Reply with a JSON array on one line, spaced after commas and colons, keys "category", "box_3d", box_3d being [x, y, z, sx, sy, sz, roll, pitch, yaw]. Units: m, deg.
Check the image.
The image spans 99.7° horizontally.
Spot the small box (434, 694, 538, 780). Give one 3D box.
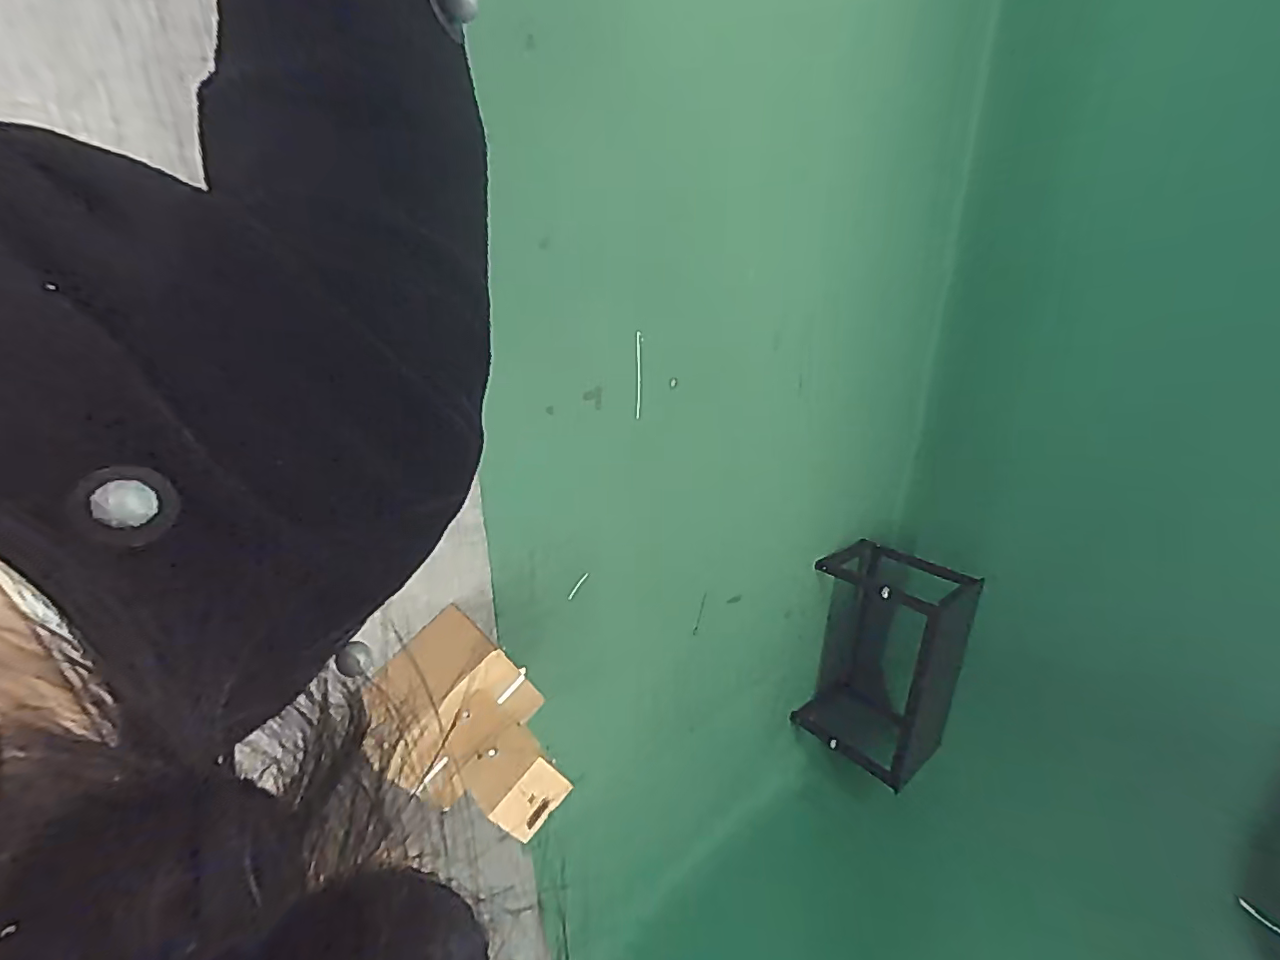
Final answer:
[{"category": "small box", "box_3d": [-0.417, 0.715, 1.464, 0.168, 0.176, 0.179, -48, 131, -19]}]

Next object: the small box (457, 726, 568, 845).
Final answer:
[{"category": "small box", "box_3d": [-0.315, 0.748, 1.340, 0.168, 0.176, 0.179, -44, 128, -23]}]
